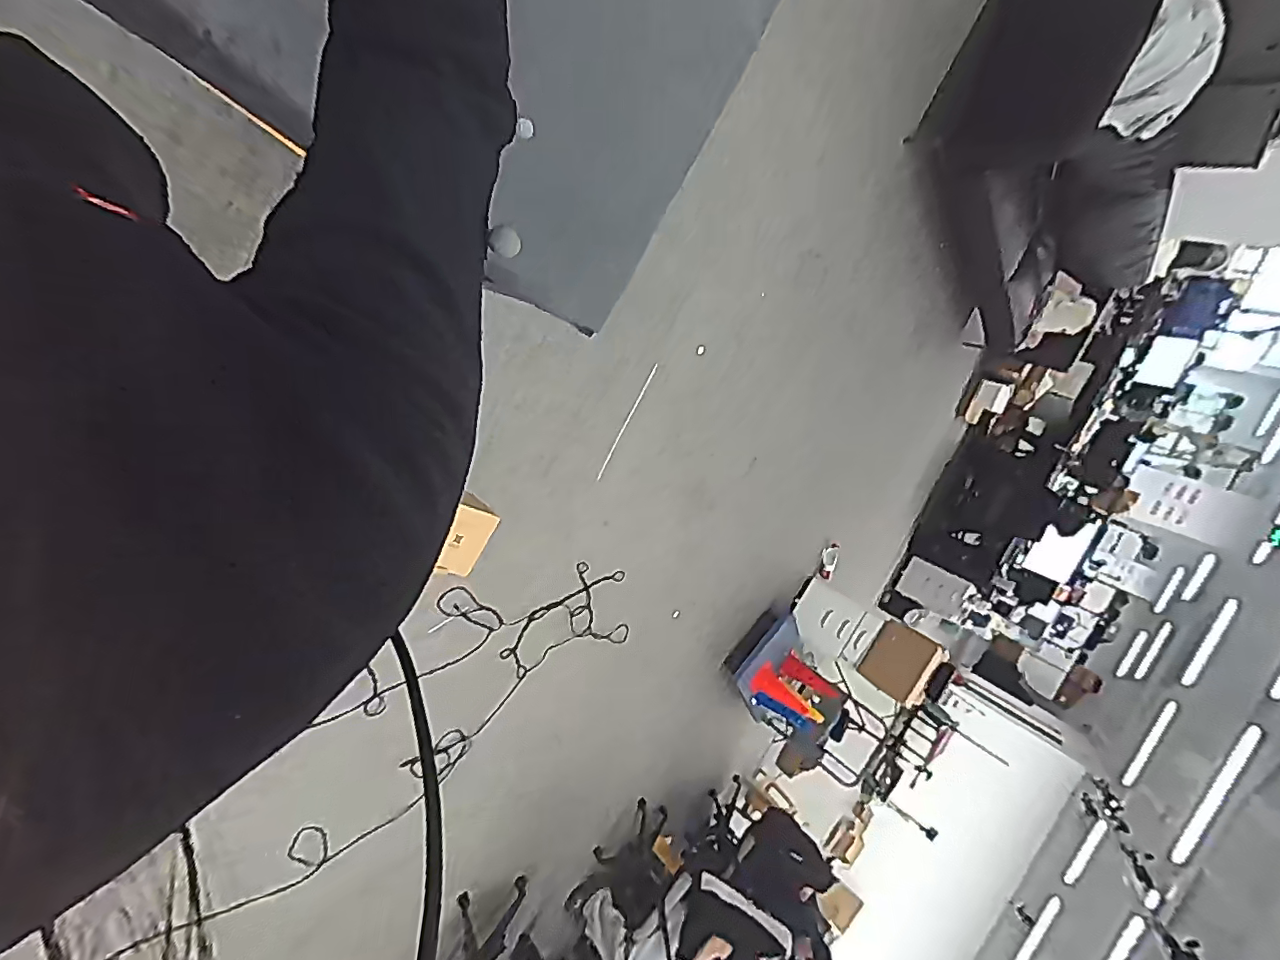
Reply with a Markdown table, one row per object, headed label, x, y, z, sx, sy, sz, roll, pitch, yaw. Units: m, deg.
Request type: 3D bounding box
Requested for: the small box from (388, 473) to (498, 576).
| label | x | y | z | sx | sy | sz | roll | pitch | yaw |
| --- | --- | --- | --- | --- | --- | --- | --- | --- | --- |
| small box | -0.490 | 0.109 | 1.327 | 0.168 | 0.176 | 0.179 | 28 | 90 | -52 |
